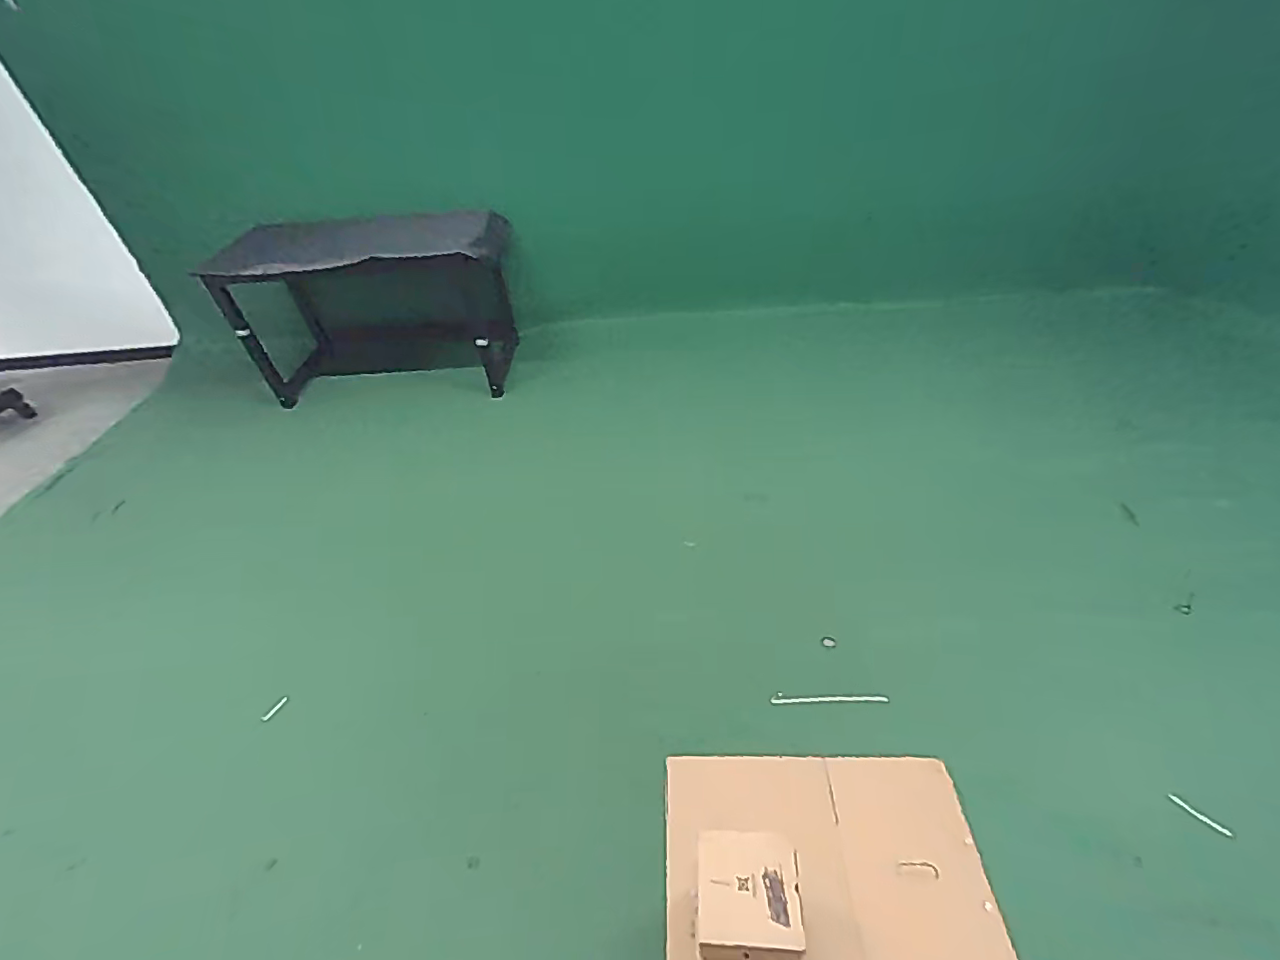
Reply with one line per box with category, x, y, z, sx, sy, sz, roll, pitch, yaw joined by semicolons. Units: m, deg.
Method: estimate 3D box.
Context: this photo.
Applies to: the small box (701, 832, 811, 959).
small box;0.201;0.761;0.978;0.179;0.176;0.168;-2;41;8
